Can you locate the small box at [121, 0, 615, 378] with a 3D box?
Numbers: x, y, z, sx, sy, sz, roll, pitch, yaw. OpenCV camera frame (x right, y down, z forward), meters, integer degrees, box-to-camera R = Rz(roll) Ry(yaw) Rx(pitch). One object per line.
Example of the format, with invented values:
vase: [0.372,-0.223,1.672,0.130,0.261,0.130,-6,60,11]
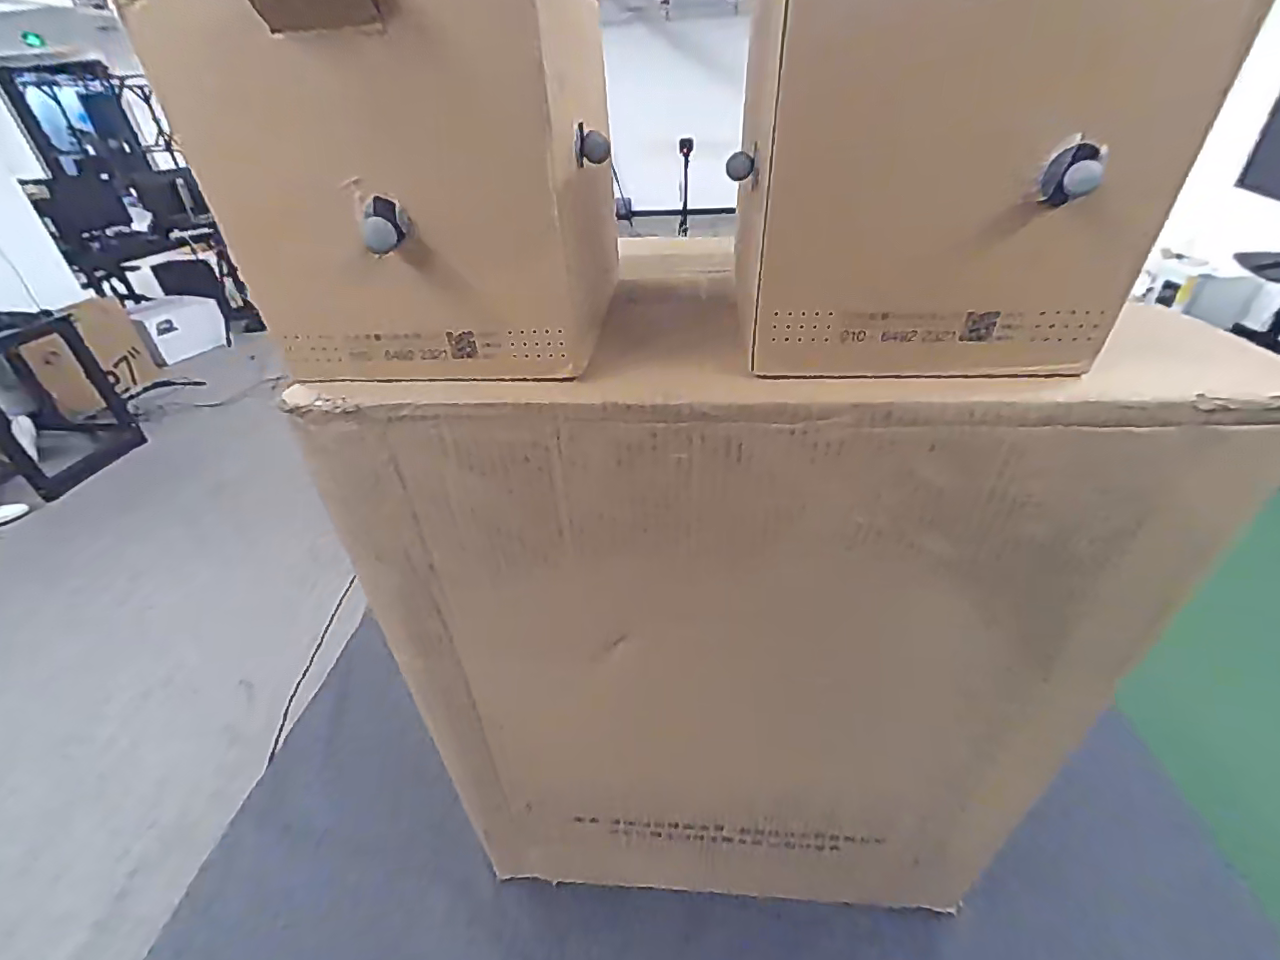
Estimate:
small box: [-0.109,-0.170,0.313,0.168,0.176,0.179,2,38,6]

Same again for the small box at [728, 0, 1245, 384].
small box: [0.138,-0.162,0.291,0.168,0.176,0.179,3,36,4]
